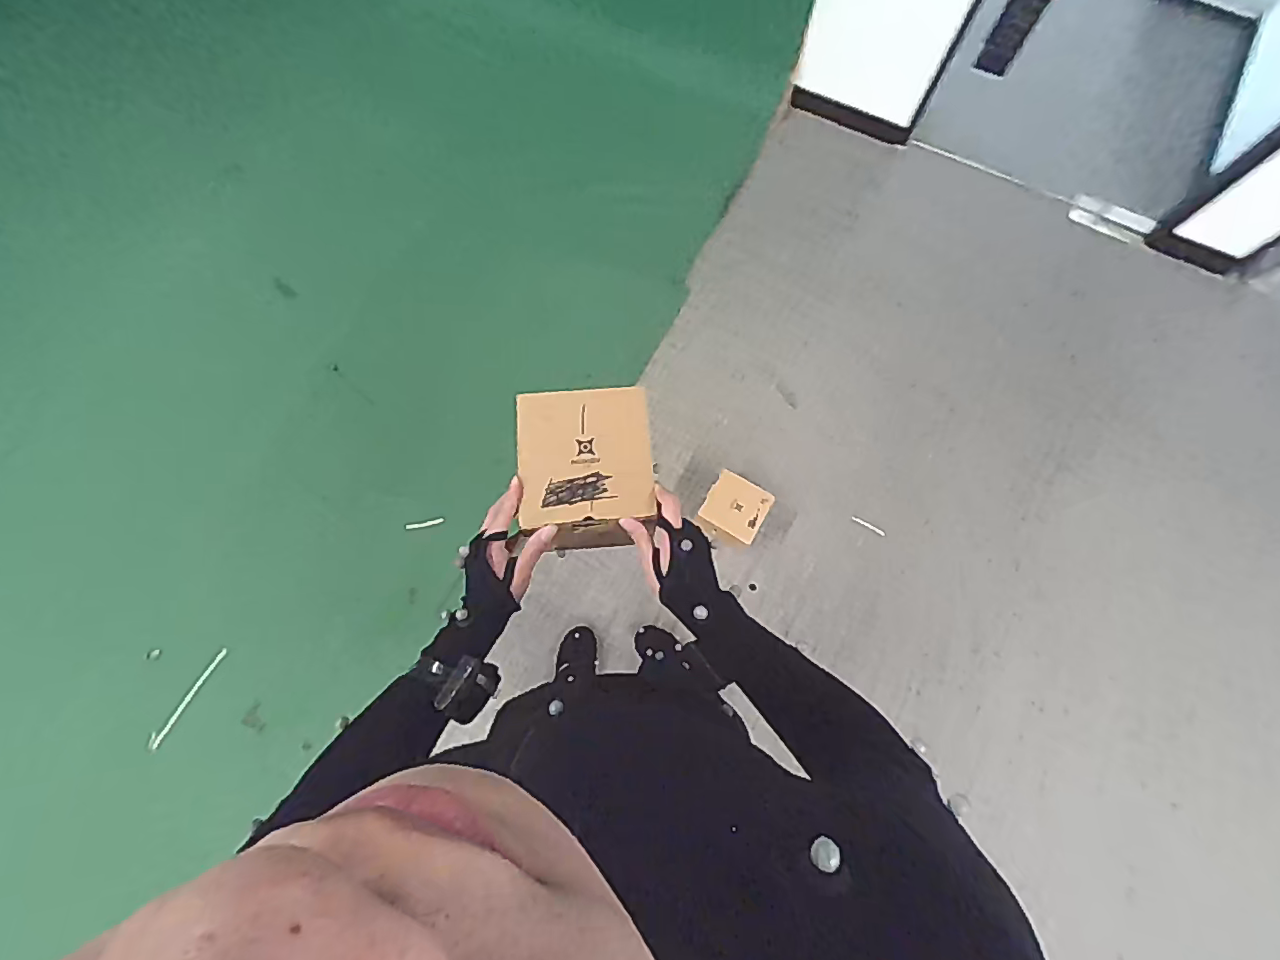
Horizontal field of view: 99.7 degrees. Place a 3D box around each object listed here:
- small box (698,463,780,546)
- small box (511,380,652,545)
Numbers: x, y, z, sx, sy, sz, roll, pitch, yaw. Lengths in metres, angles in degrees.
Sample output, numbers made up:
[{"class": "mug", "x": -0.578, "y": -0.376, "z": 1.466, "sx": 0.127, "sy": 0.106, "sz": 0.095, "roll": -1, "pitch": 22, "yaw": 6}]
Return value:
[{"class": "small box", "x": 0.285, "y": 0.081, "z": 1.611, "sx": 0.179, "sy": 0.176, "sz": 0.168, "roll": 32, "pitch": 79, "yaw": 9}, {"class": "small box", "x": -0.072, "y": -0.012, "z": 0.724, "sx": 0.168, "sy": 0.176, "sz": 0.179, "roll": -5, "pitch": 73, "yaw": -2}]
